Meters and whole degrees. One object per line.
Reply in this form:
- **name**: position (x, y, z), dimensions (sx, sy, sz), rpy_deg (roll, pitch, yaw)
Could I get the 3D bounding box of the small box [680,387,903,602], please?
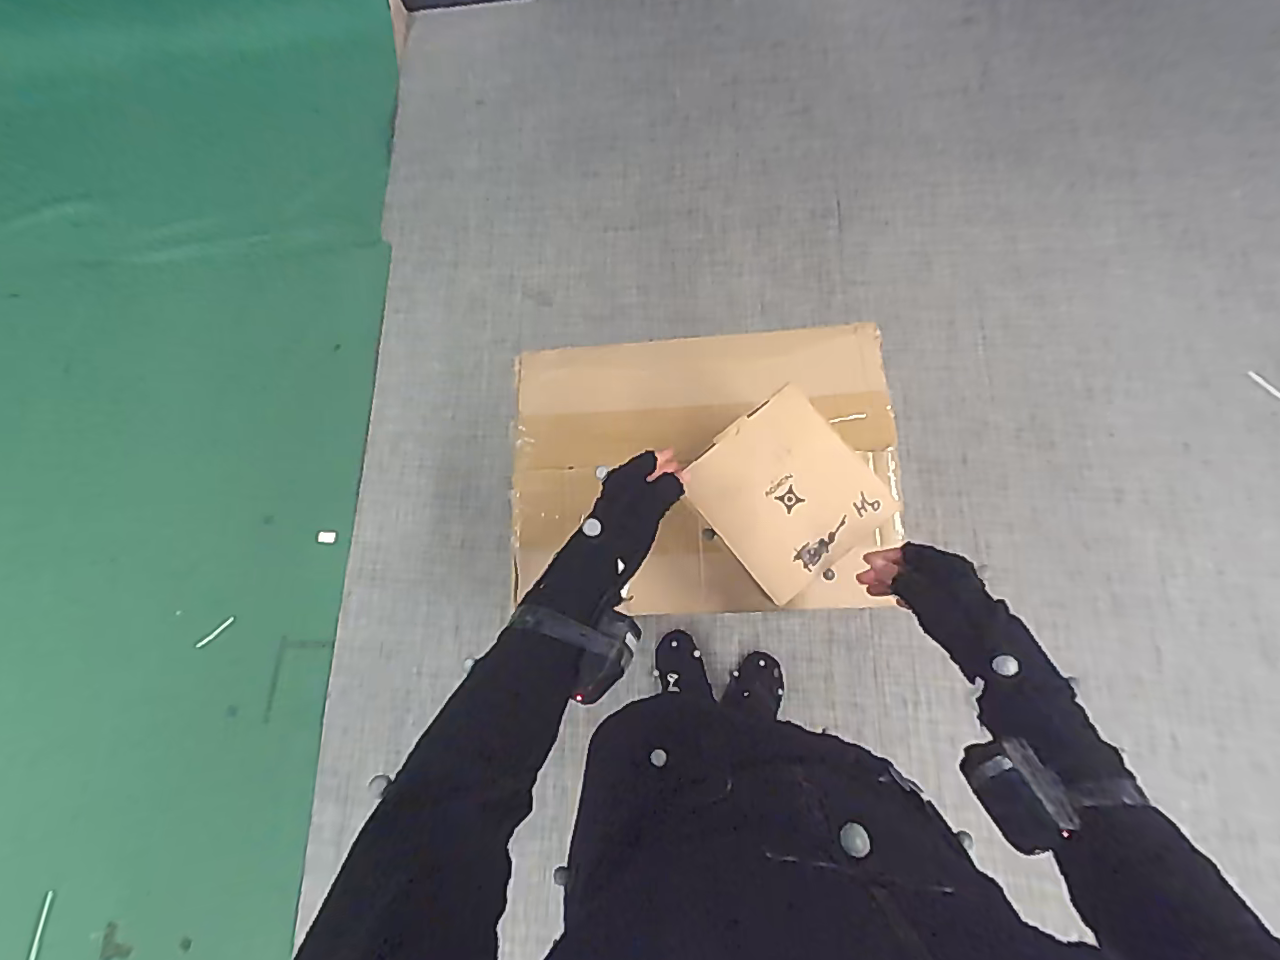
- **small box**: position (0.164, 0.024, 0.649), dimensions (0.168, 0.176, 0.179), rpy_deg (-39, 80, 0)
